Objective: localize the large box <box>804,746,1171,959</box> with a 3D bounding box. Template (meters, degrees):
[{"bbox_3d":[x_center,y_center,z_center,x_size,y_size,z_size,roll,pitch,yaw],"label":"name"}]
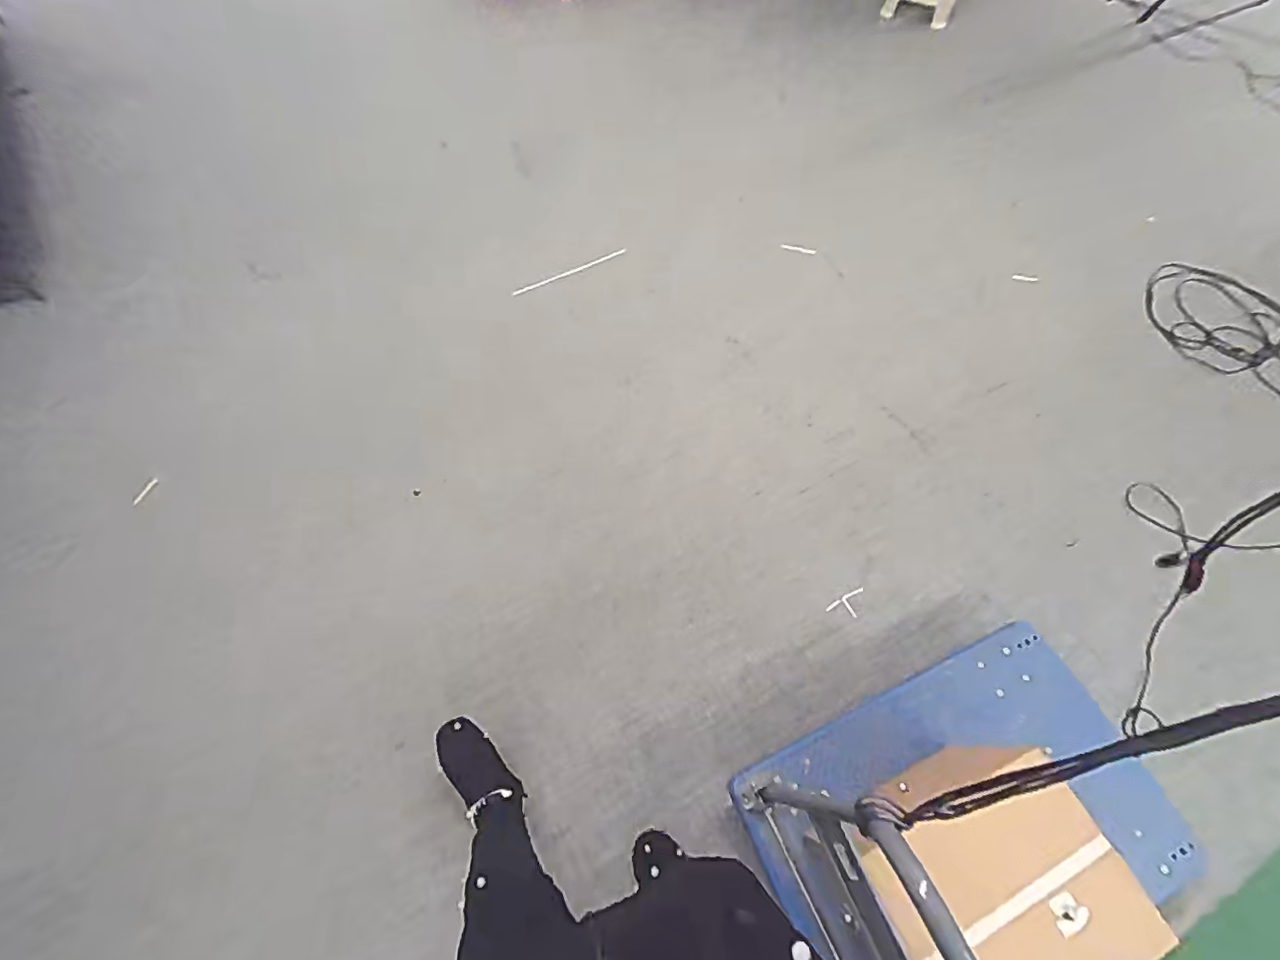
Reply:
[{"bbox_3d":[0.587,0.739,0.995,0.408,0.320,0.320,-22,67,-12],"label":"large box"}]
